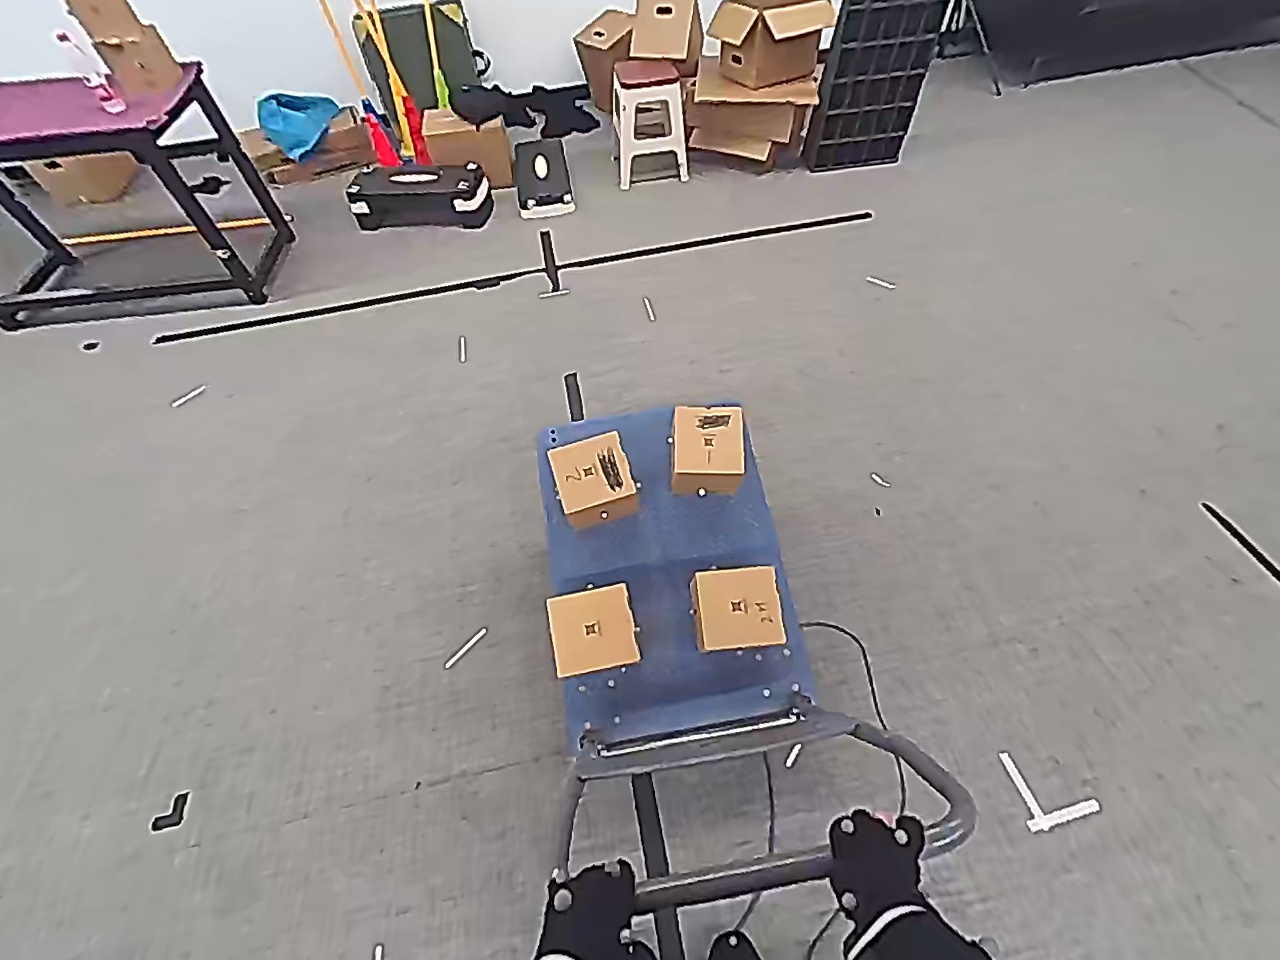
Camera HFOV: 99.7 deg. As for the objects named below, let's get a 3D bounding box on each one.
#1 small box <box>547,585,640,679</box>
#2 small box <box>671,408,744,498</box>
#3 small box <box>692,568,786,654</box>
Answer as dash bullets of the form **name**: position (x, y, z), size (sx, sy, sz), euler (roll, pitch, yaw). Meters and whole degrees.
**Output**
- **small box**: position (-0.100, 0.346, 1.212), size (0.179, 0.176, 0.168), euler (-11, 70, -5)
- **small box**: position (0.163, -0.066, 1.359), size (0.168, 0.176, 0.179), euler (1, 71, 1)
- **small box**: position (0.214, 0.302, 1.226), size (0.179, 0.176, 0.168), euler (-5, 71, -1)
